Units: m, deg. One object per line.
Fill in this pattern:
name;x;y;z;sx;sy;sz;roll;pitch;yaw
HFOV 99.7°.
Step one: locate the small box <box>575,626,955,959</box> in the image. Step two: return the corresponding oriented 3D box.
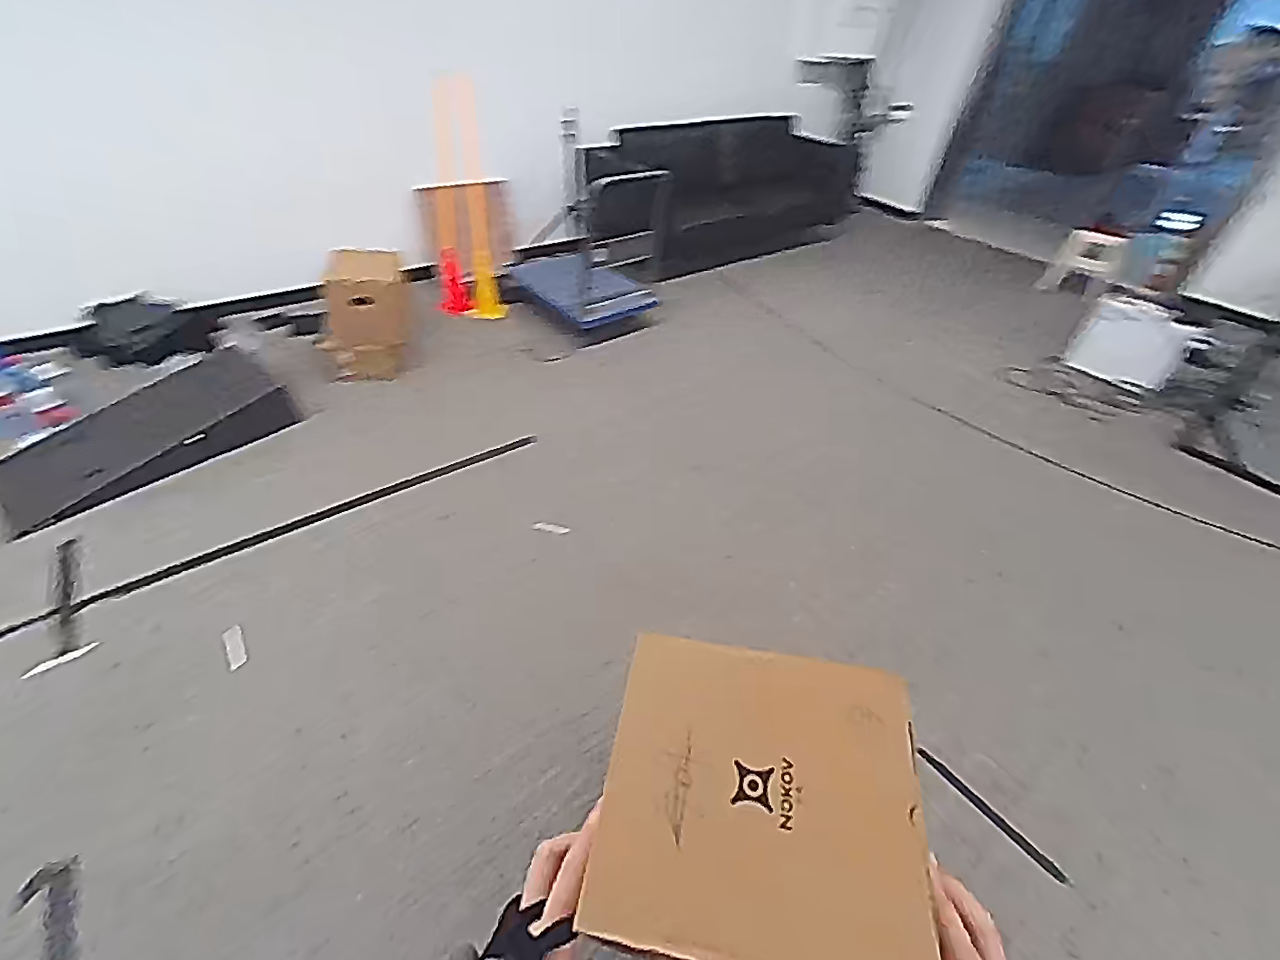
small box;0.075;0.221;0.355;0.179;0.176;0.168;5;47;12
